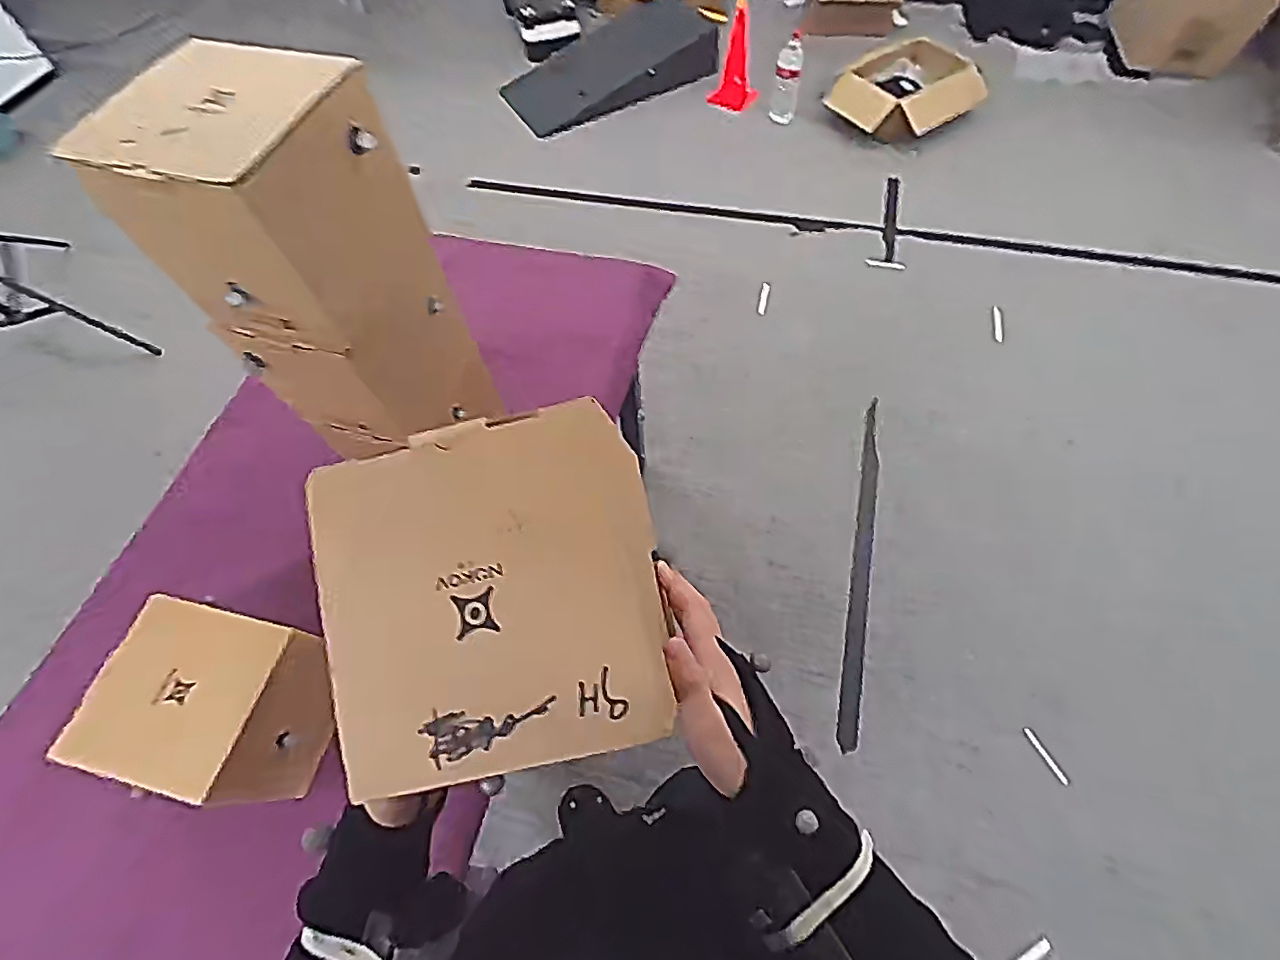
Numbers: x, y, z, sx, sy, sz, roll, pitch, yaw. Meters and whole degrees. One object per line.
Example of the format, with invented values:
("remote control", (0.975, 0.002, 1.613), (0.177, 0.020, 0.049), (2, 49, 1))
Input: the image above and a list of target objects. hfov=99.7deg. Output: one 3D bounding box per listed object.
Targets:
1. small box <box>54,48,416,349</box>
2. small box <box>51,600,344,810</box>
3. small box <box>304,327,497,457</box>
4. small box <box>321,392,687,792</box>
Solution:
("small box", (-0.335, -0.252, 0.498), (0.168, 0.176, 0.179), (12, 63, 9))
("small box", (-0.457, 0.251, 0.608), (0.179, 0.176, 0.168), (10, 63, 9))
("small box", (-0.327, -0.089, 0.784), (0.168, 0.176, 0.179), (13, 63, 9))
("small box", (-0.070, 0.067, 0.355), (0.168, 0.176, 0.179), (-15, 79, 6))
